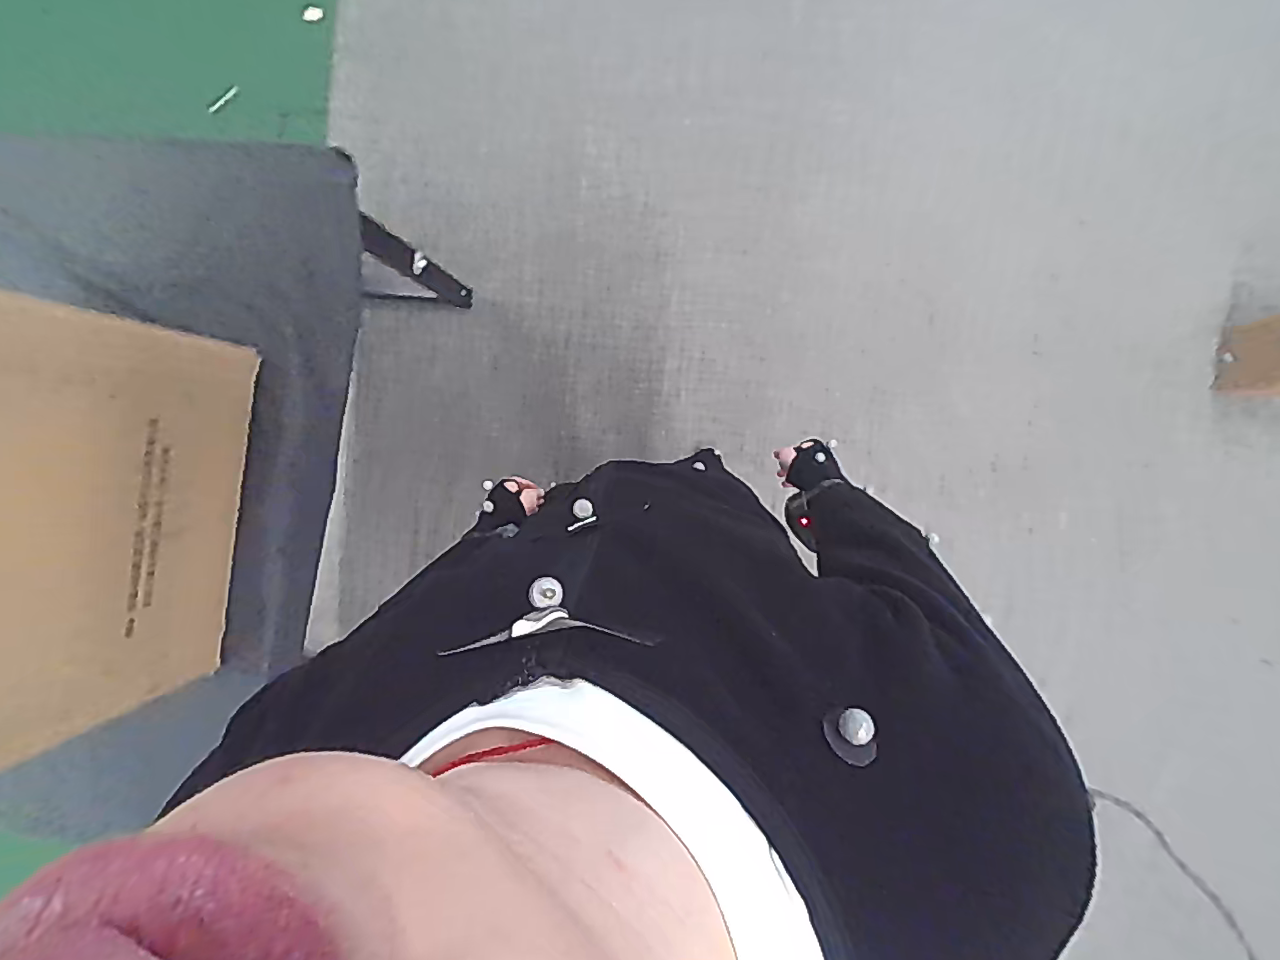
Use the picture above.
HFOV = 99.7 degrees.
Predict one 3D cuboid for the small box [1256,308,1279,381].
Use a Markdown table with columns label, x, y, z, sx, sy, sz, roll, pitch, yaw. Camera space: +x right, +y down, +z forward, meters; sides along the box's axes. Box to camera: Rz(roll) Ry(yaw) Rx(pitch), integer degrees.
| label | x | y | z | sx | sy | sz | roll | pitch | yaw |
| --- | --- | --- | --- | --- | --- | --- | --- | --- | --- |
| small box | 1.509 | -0.300 | 1.156 | 0.179 | 0.176 | 0.168 | 6 | 93 | 5 |

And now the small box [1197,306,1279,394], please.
| label | x | y | z | sx | sy | sz | roll | pitch | yaw |
| --- | --- | --- | --- | --- | --- | --- | --- | --- | --- |
| small box | 1.530 | -0.309 | 1.320 | 0.168 | 0.176 | 0.179 | 7 | 94 | 4 |
